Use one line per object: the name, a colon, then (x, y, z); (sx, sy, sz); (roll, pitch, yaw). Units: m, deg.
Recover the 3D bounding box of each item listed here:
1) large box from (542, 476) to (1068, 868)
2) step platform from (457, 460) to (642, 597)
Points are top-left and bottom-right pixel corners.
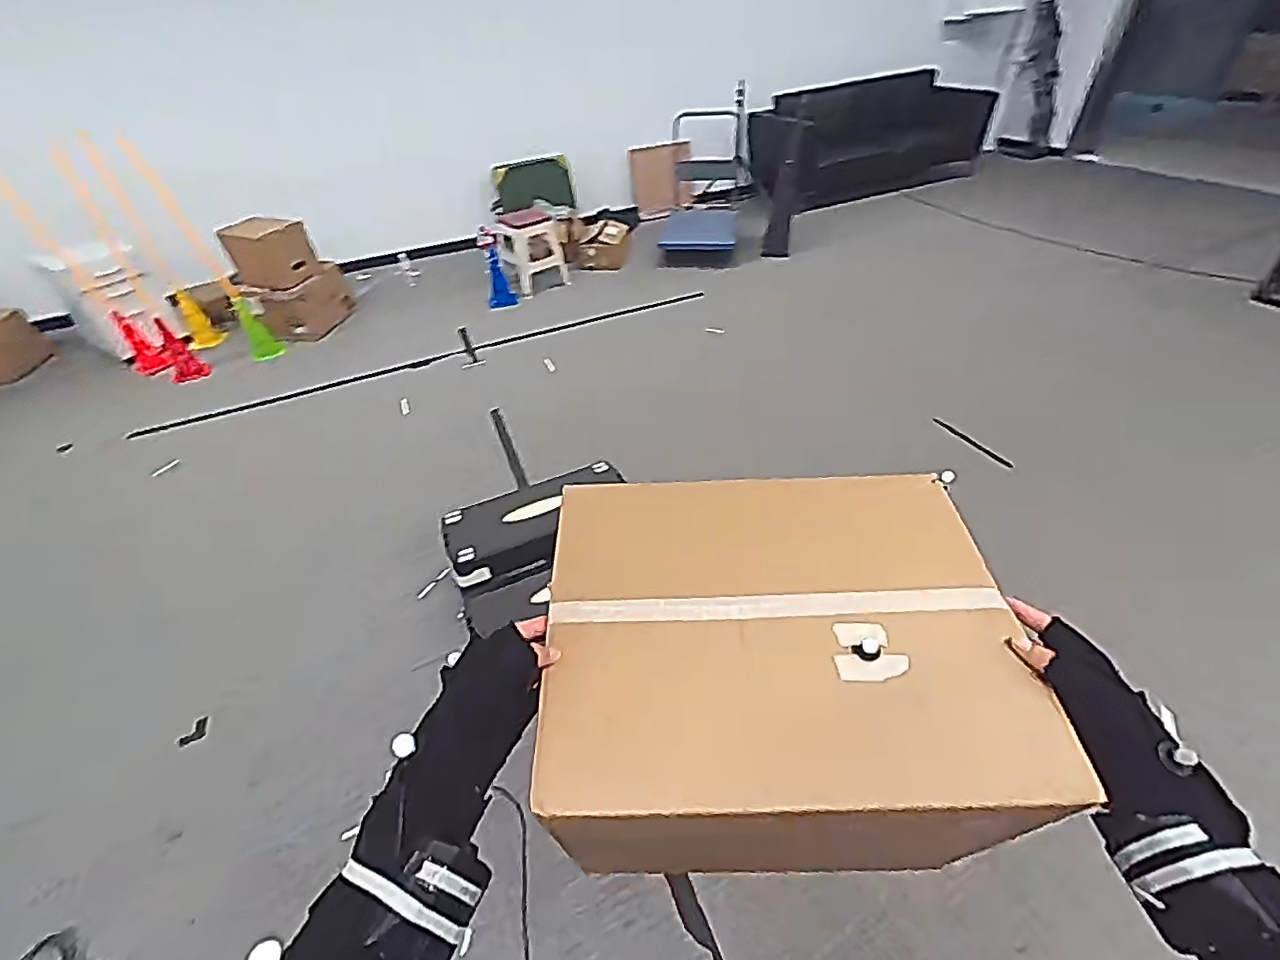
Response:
large box: (0.120, 0.218, 0.608); (0.408, 0.320, 0.320); (-2, 48, 0)
step platform: (-0.313, 0.159, 1.992); (0.684, 0.204, 0.286); (-20, 43, -18)
